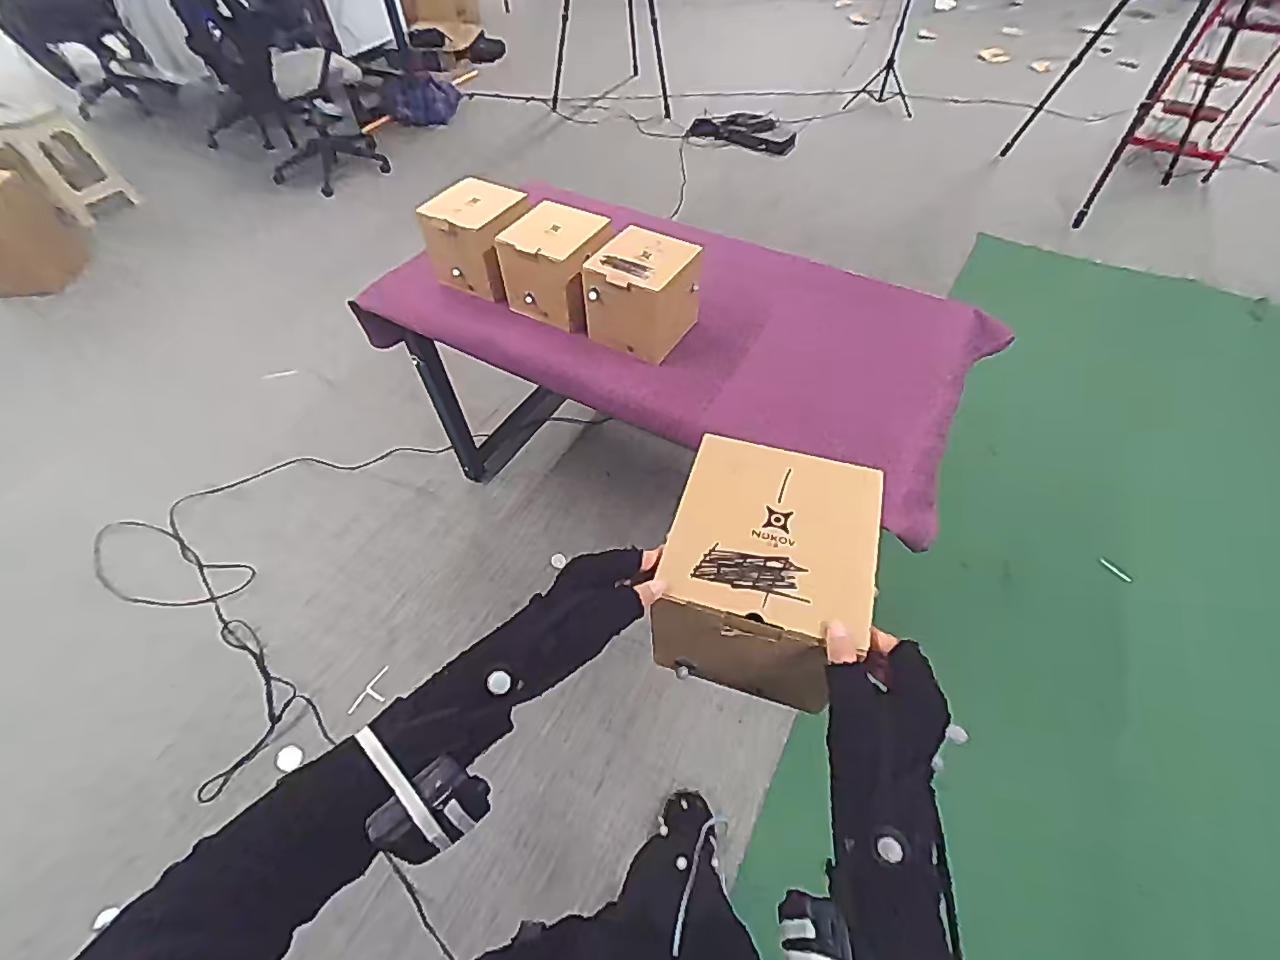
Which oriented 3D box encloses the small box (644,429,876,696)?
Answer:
[{"bbox_3d":[0.112,0.083,0.522,0.168,0.176,0.179,15,54,13],"label":"small box"}]
